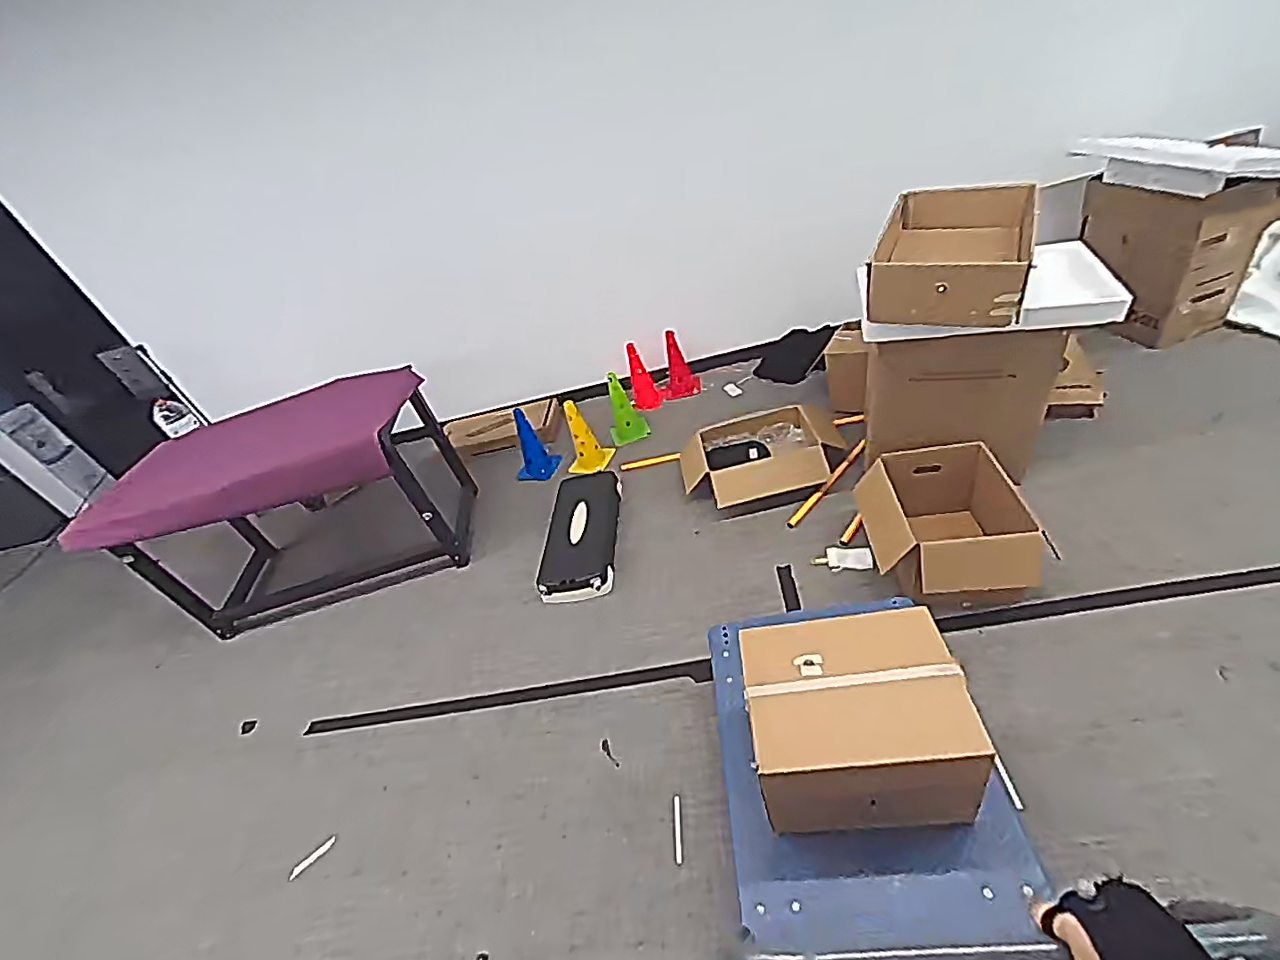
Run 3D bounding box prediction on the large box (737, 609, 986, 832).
[{"bbox_3d":[0.451,0.525,1.171,0.408,0.320,0.320,-12,37,10],"label":"large box"}]
